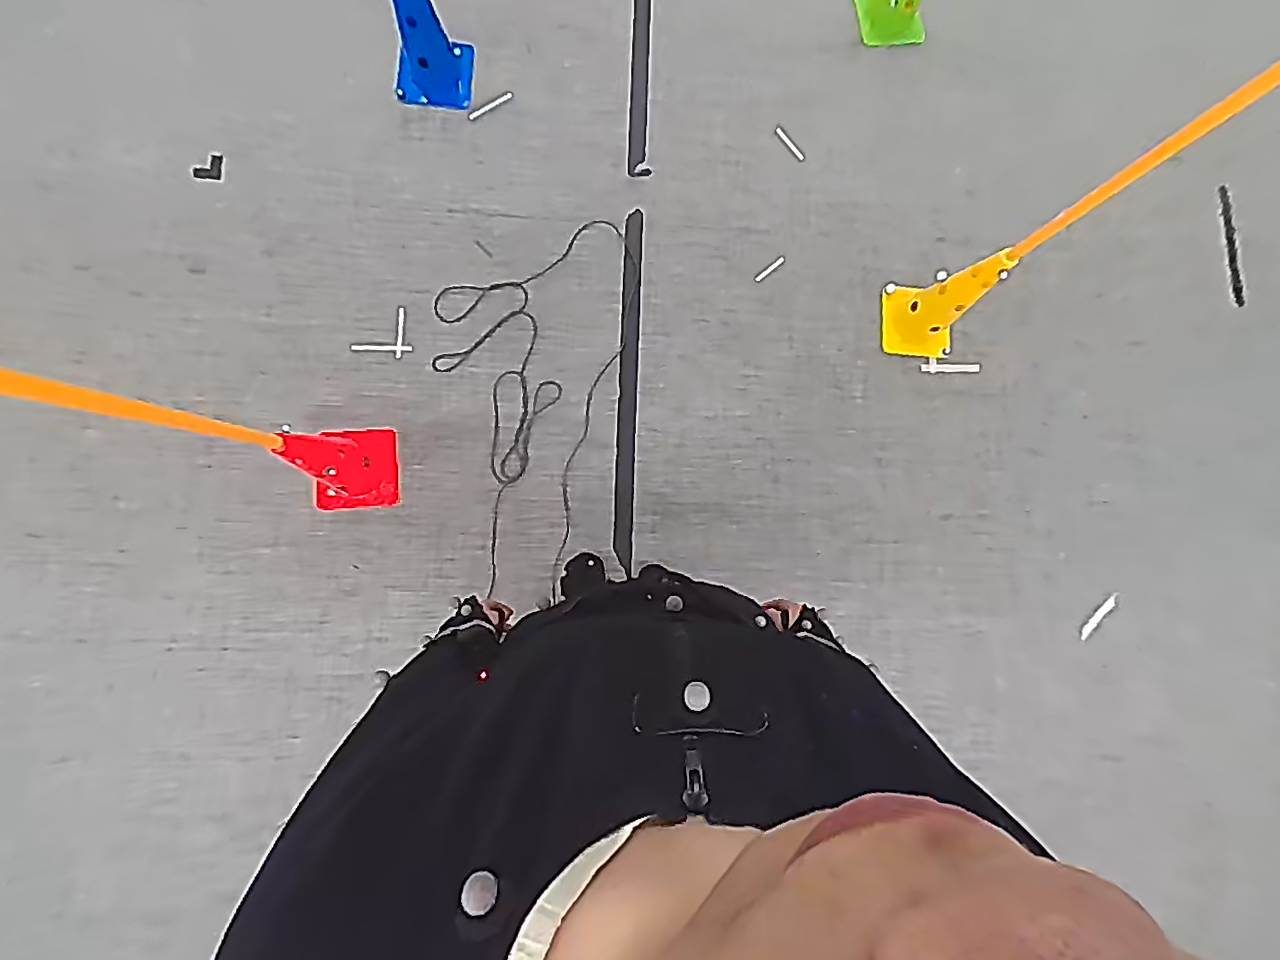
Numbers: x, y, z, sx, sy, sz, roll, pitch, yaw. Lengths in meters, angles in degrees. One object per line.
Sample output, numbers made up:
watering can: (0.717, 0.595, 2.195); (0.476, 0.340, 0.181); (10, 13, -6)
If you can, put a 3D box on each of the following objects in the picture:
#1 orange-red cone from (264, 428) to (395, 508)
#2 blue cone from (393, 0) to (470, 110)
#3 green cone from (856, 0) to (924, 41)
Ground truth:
orange-red cone: (-0.694, -0.050, 1.175); (0.199, 0.360, 0.198); (-3, 84, -6)
blue cone: (-0.555, -1.141, 1.334); (0.193, 0.380, 0.192); (5, 83, -4)
green cone: (0.769, -1.443, 1.468); (0.200, 0.368, 0.202); (-9, 86, -6)
